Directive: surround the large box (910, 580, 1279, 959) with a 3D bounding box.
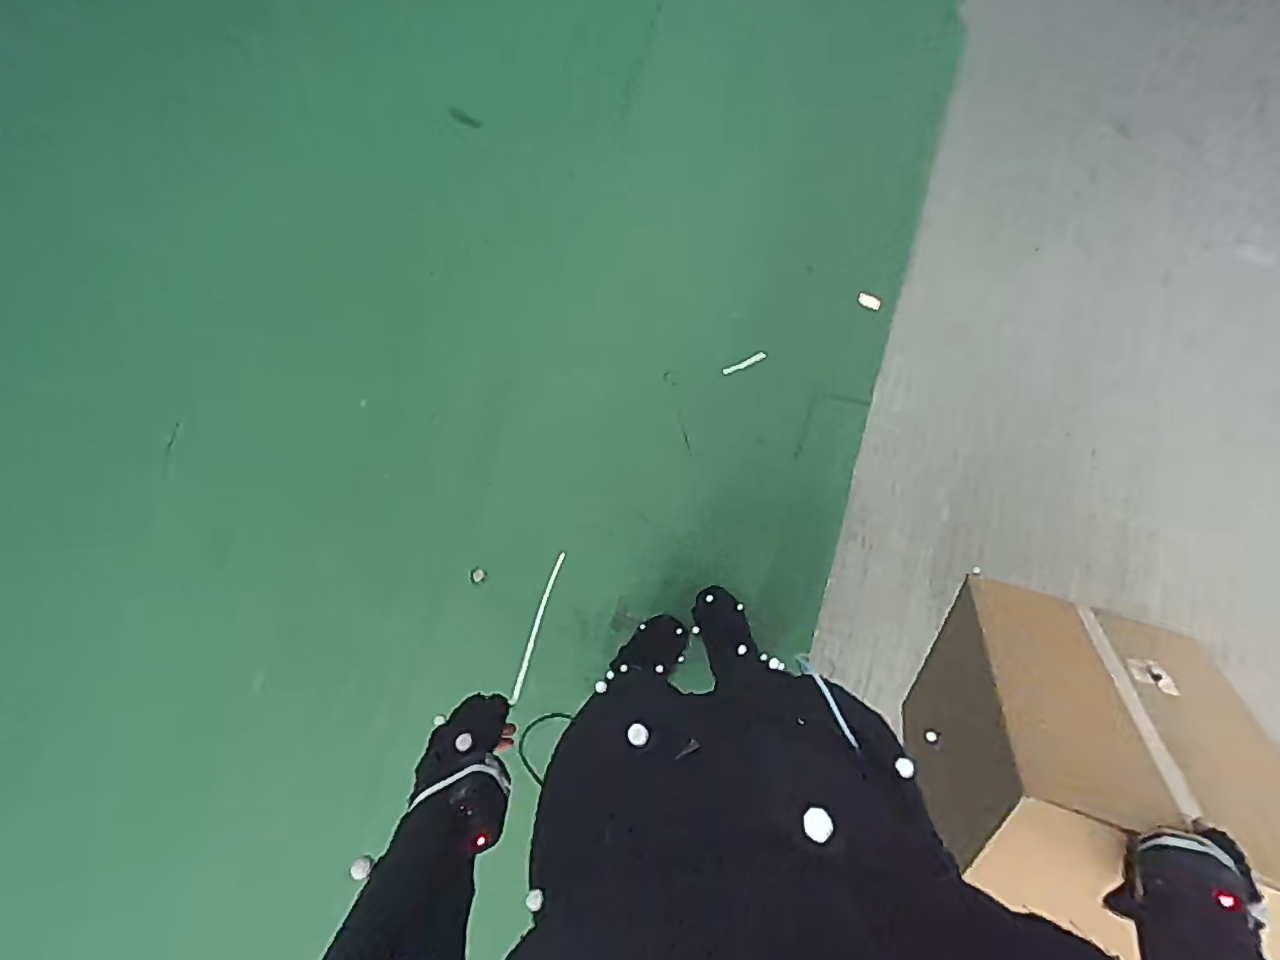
[{"bbox_3d":[0.586,0.407,0.732,0.320,0.408,0.320,16,118,16],"label":"large box"}]
